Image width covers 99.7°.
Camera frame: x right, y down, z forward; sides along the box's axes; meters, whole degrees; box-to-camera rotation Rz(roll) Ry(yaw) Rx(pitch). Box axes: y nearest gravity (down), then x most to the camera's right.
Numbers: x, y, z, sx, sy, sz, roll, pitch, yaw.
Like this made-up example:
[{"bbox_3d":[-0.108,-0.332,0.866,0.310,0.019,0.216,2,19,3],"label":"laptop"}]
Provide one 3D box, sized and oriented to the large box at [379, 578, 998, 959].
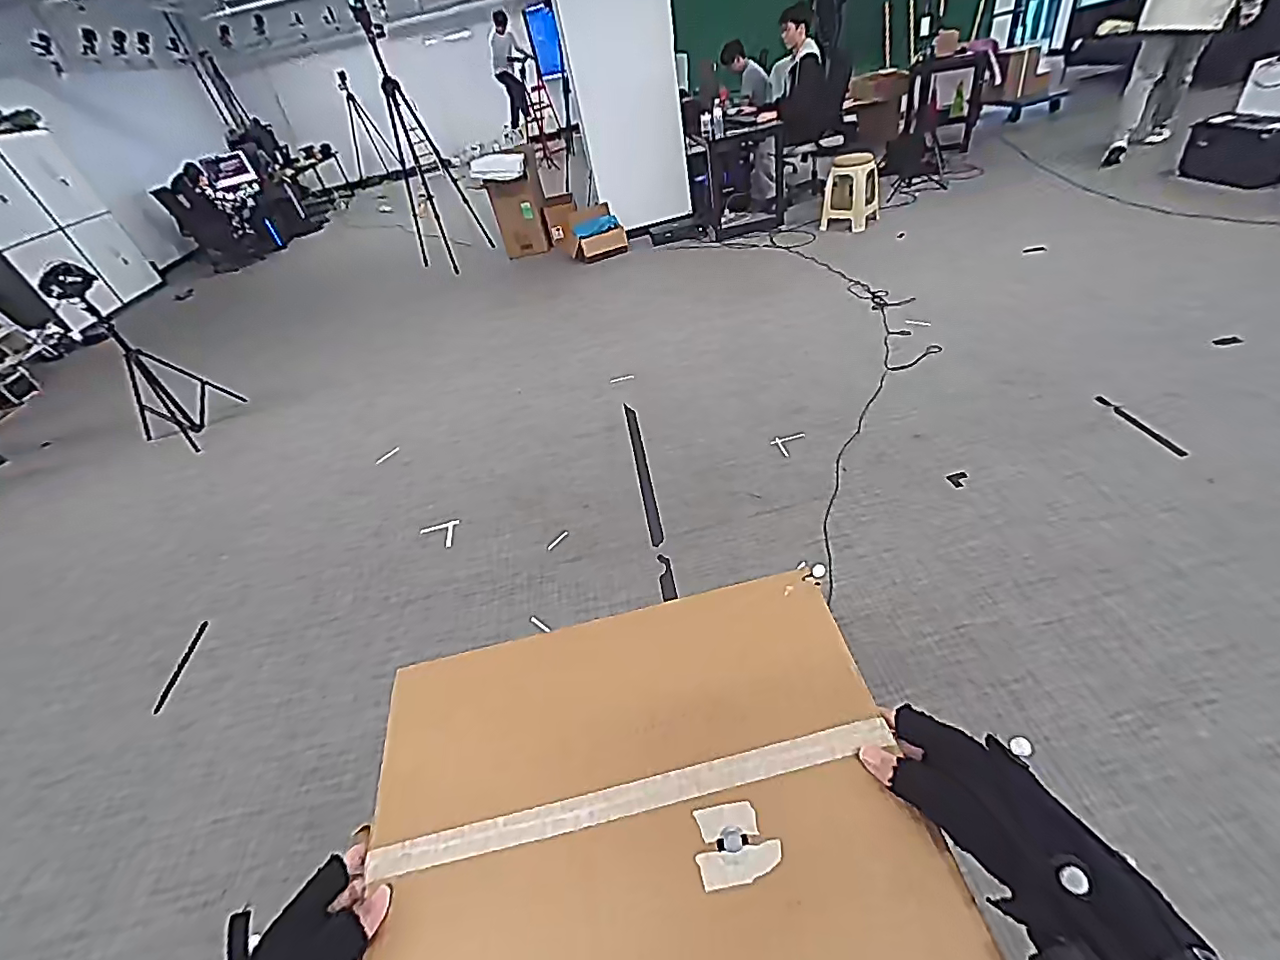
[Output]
[{"bbox_3d":[0.021,0.351,0.525,0.408,0.320,0.320,-14,46,-2],"label":"large box"}]
